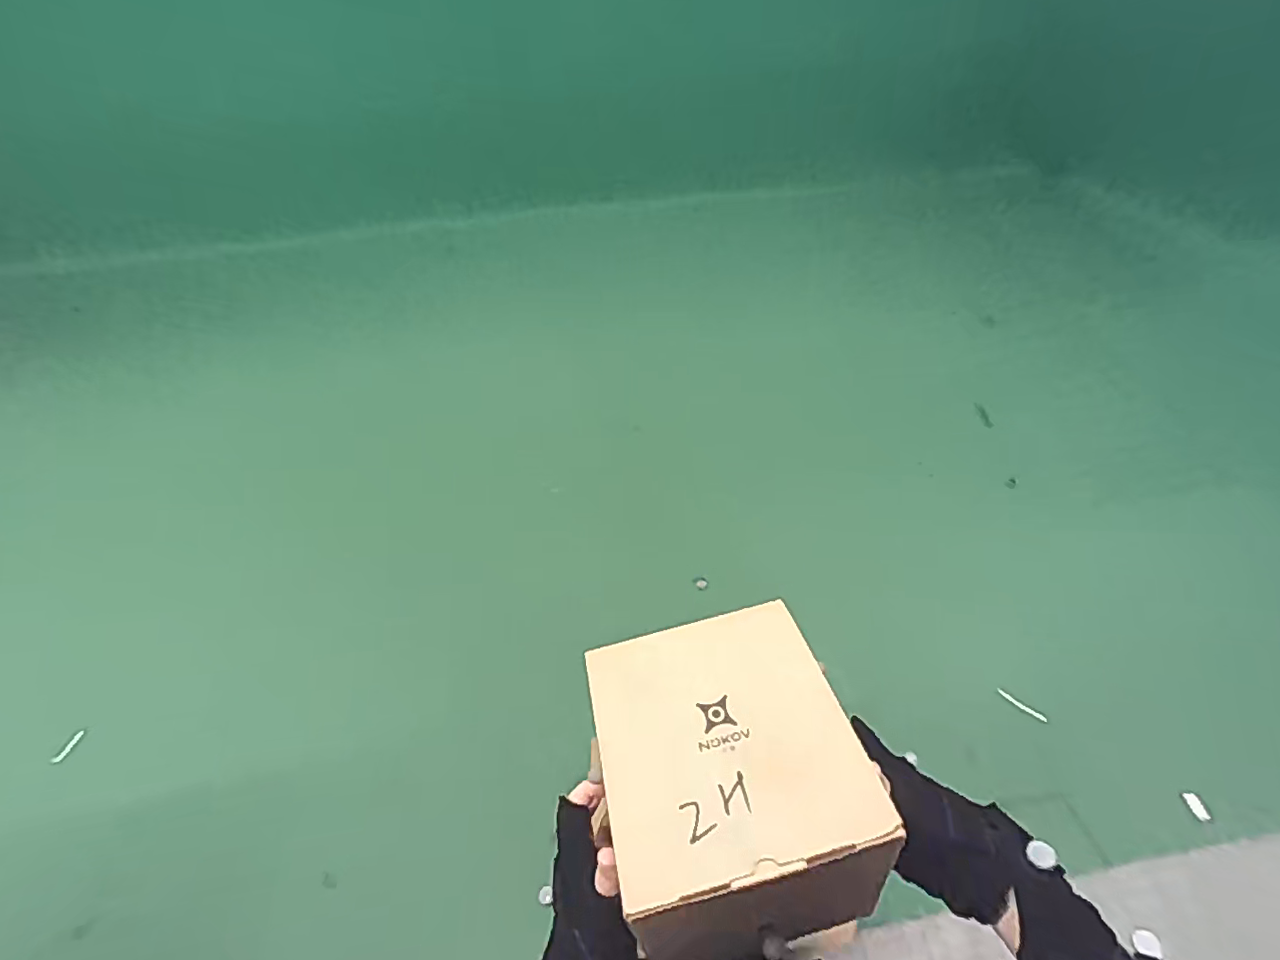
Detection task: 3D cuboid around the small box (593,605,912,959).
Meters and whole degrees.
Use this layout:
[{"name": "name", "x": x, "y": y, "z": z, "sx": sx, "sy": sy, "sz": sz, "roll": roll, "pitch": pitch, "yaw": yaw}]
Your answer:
[{"name": "small box", "x": 0.067, "y": 0.230, "z": 0.409, "sx": 0.168, "sy": 0.176, "sz": 0.179, "roll": -14, "pitch": 39, "yaw": -4}]
